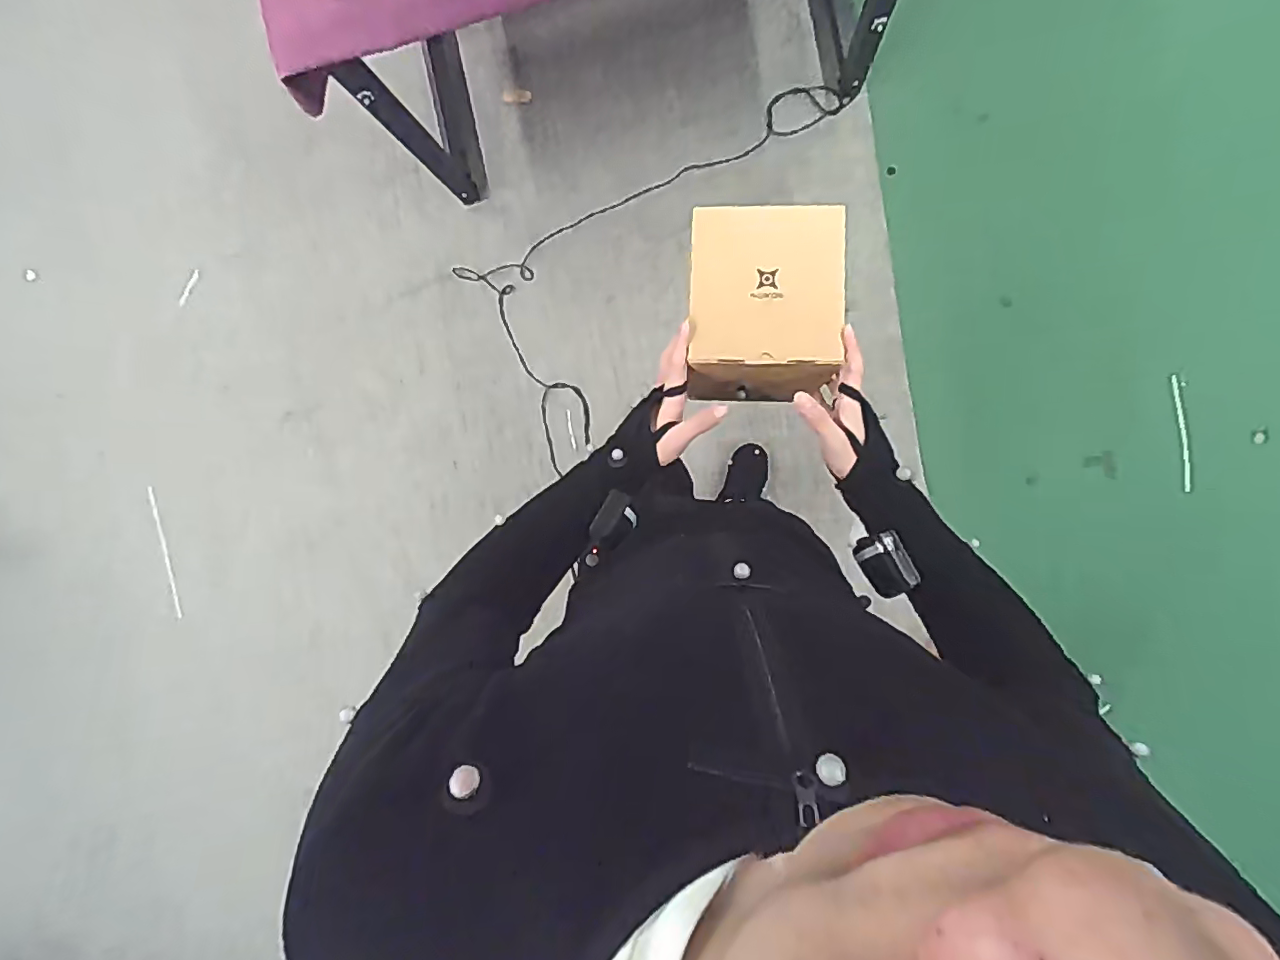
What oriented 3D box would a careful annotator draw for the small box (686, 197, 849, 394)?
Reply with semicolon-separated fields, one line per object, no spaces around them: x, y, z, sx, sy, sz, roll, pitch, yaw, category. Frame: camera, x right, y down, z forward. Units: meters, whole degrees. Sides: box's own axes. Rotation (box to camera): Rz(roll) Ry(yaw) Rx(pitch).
0.142;-0.211;0.653;0.168;0.176;0.179;1;86;4;small box
